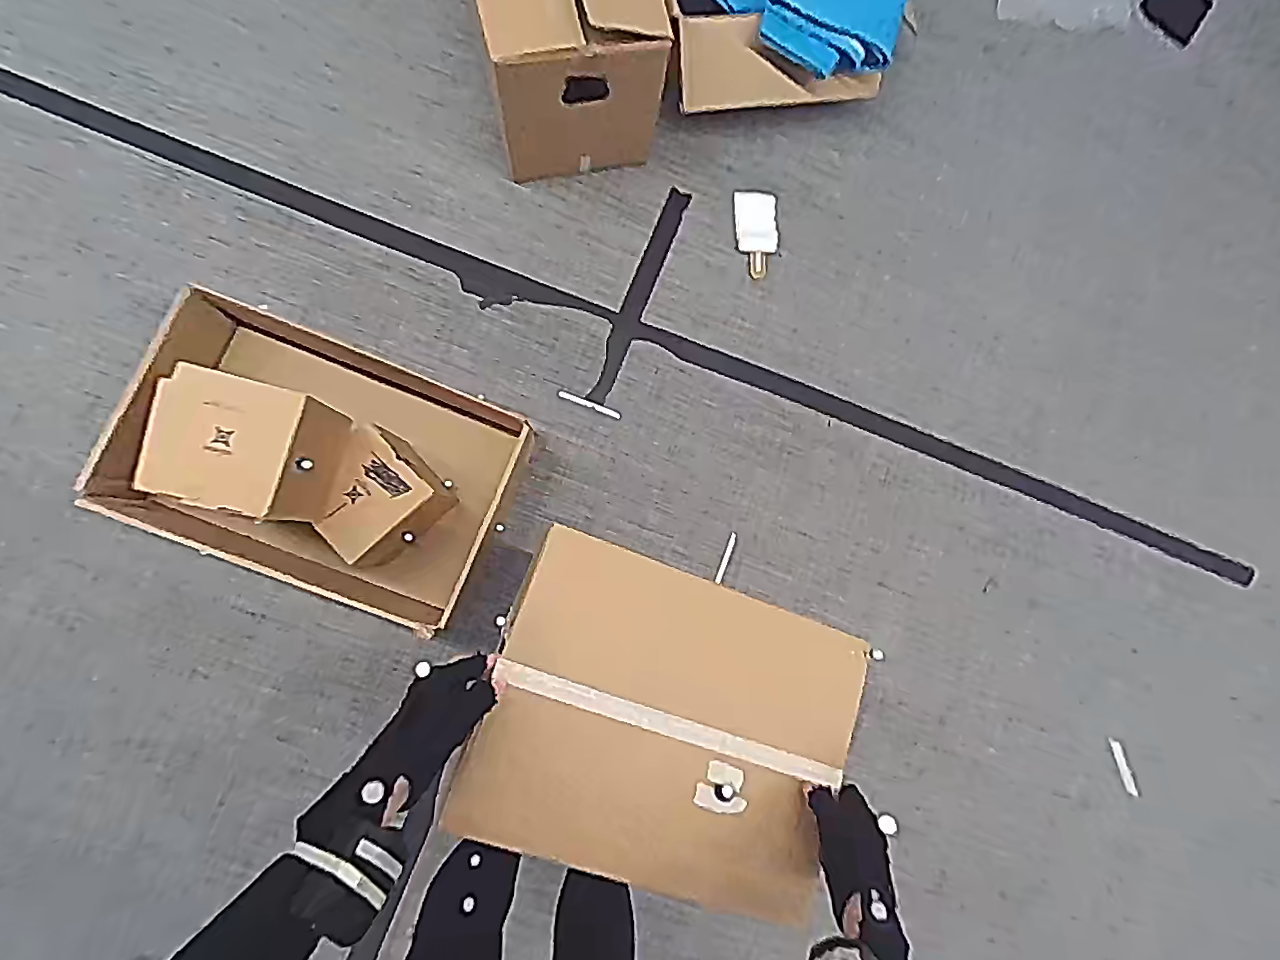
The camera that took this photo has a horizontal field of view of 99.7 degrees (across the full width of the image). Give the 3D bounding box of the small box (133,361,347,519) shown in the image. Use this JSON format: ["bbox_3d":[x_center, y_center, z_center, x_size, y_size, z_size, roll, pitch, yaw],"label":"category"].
[{"bbox_3d":[-0.554,-0.045,0.779,0.168,0.176,0.179,14,82,-6],"label":"small box"}]

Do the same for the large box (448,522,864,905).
[{"bbox_3d":[0.006,0.274,0.724,0.408,0.320,0.320,21,78,-9],"label":"large box"}]
